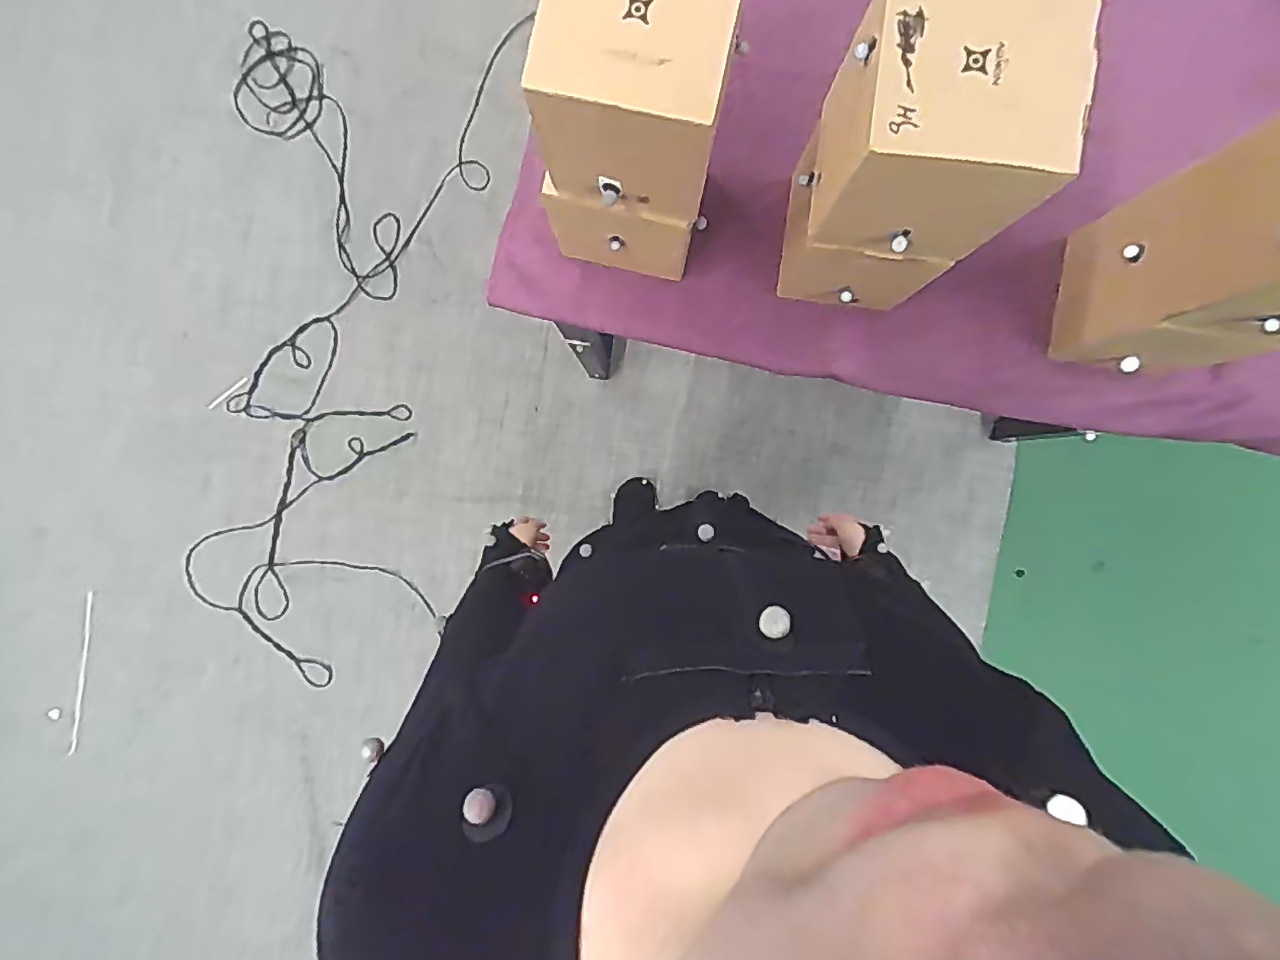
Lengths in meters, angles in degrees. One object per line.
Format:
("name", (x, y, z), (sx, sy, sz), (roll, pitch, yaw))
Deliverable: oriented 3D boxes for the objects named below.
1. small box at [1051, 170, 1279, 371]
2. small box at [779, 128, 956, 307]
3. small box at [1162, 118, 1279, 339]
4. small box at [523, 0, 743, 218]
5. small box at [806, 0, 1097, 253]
("small box", (0.668, -0.250, 0.685), (0.168, 0.176, 0.179), (9, 91, 1))
("small box", (0.283, -0.341, 0.687), (0.168, 0.176, 0.179), (8, 90, 1))
("small box", (0.668, -0.252, 0.523), (0.168, 0.176, 0.179), (9, 91, 1))
("small box", (0.001, -0.392, 0.526), (0.168, 0.176, 0.179), (12, 91, 2))
("small box", (0.280, -0.339, 0.523), (0.179, 0.176, 0.168), (7, 89, 0))
